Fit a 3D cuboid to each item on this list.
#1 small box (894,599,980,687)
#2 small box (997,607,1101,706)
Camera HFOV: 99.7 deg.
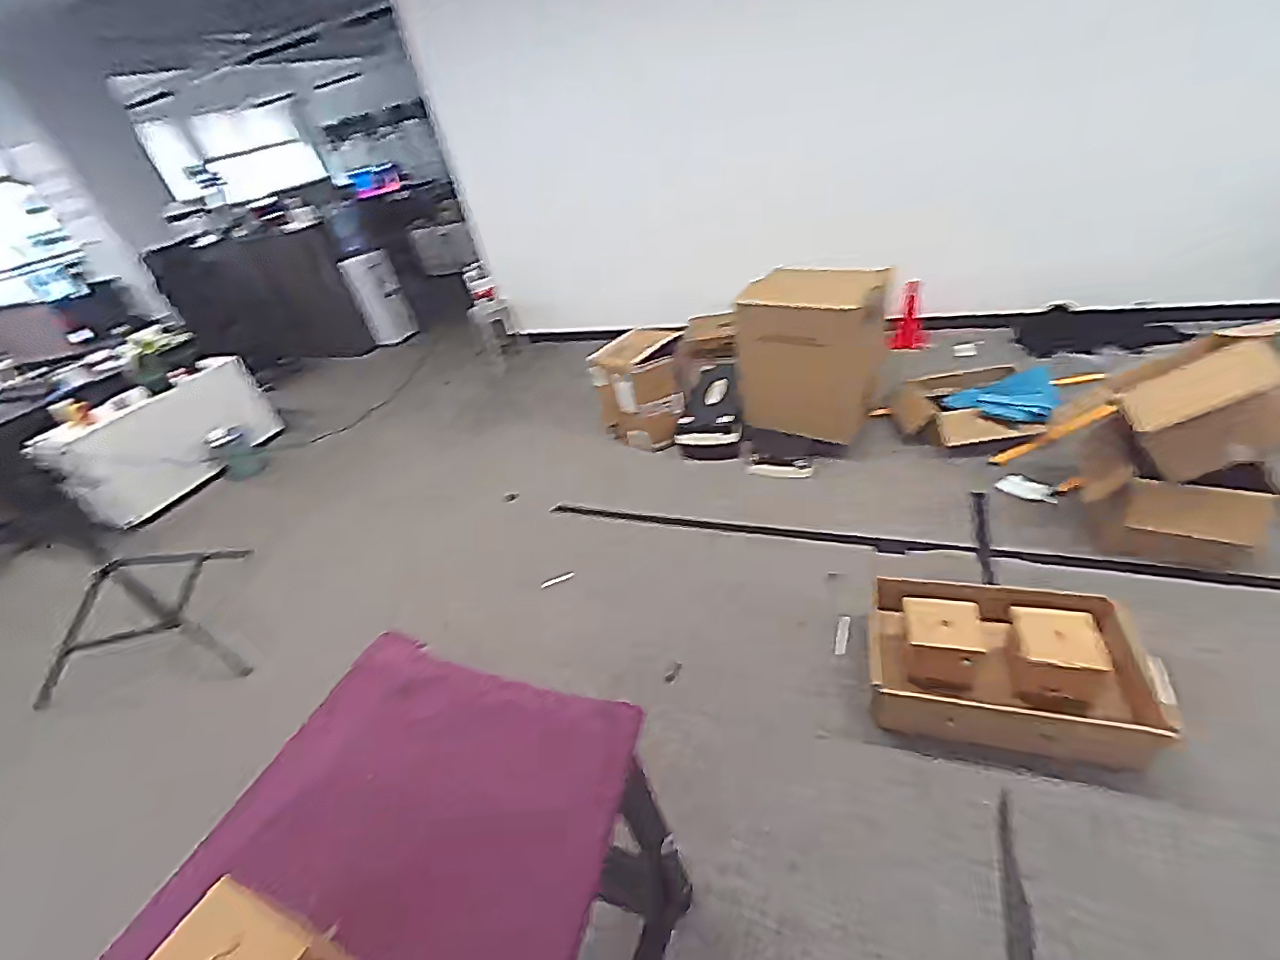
[{"bbox_3d":[0.822,0.457,1.514,0.179,0.176,0.168,1,37,18],"label":"small box"},{"bbox_3d":[1.067,0.464,1.428,0.168,0.176,0.179,1,38,20],"label":"small box"}]
